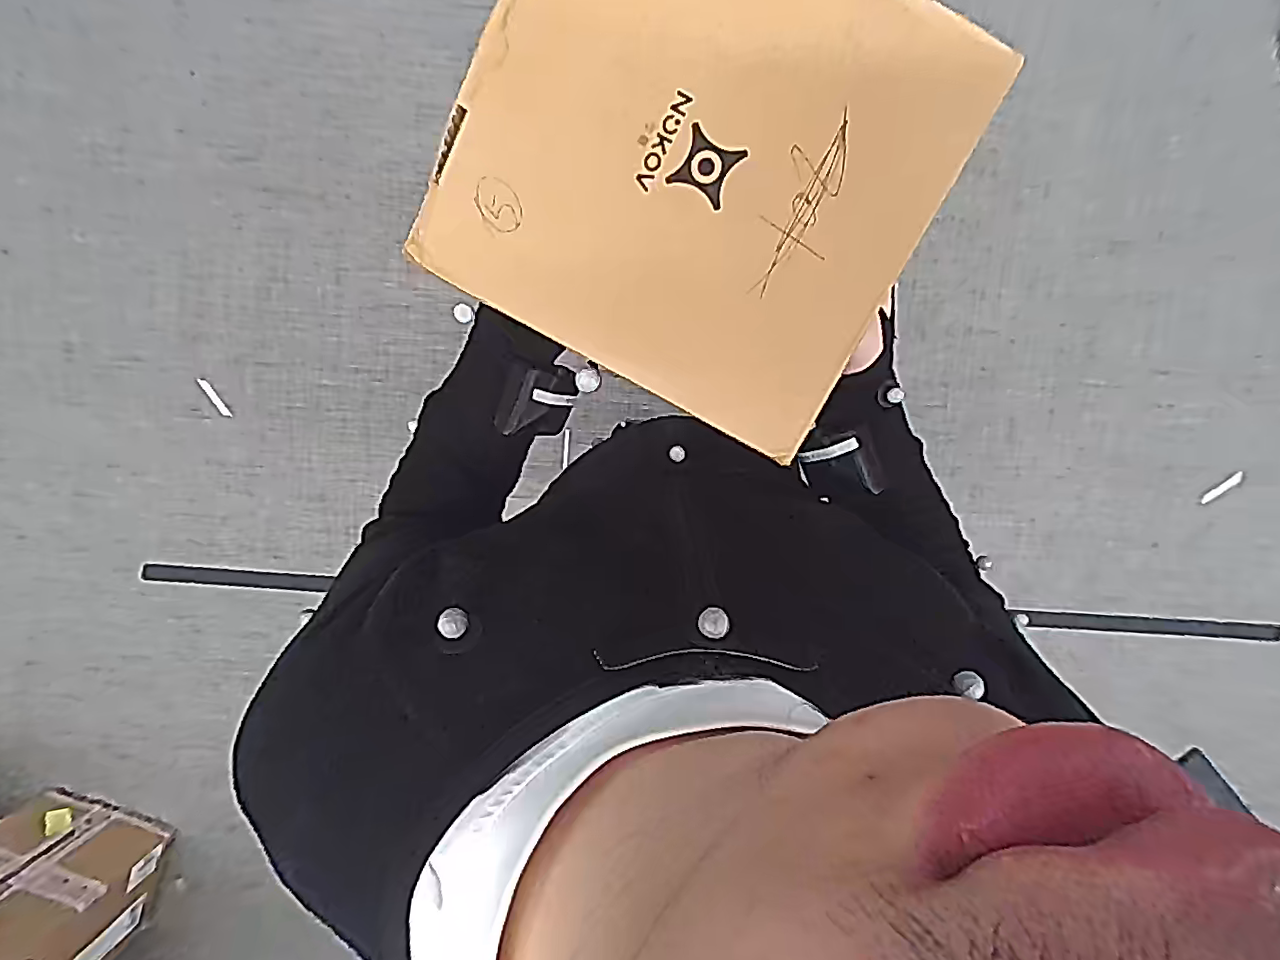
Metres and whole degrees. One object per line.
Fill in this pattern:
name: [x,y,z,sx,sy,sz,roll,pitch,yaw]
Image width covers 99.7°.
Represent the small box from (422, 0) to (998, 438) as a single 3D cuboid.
small box: [0.025,-0.138,0.291,0.179,0.176,0.168,28,100,-3]
